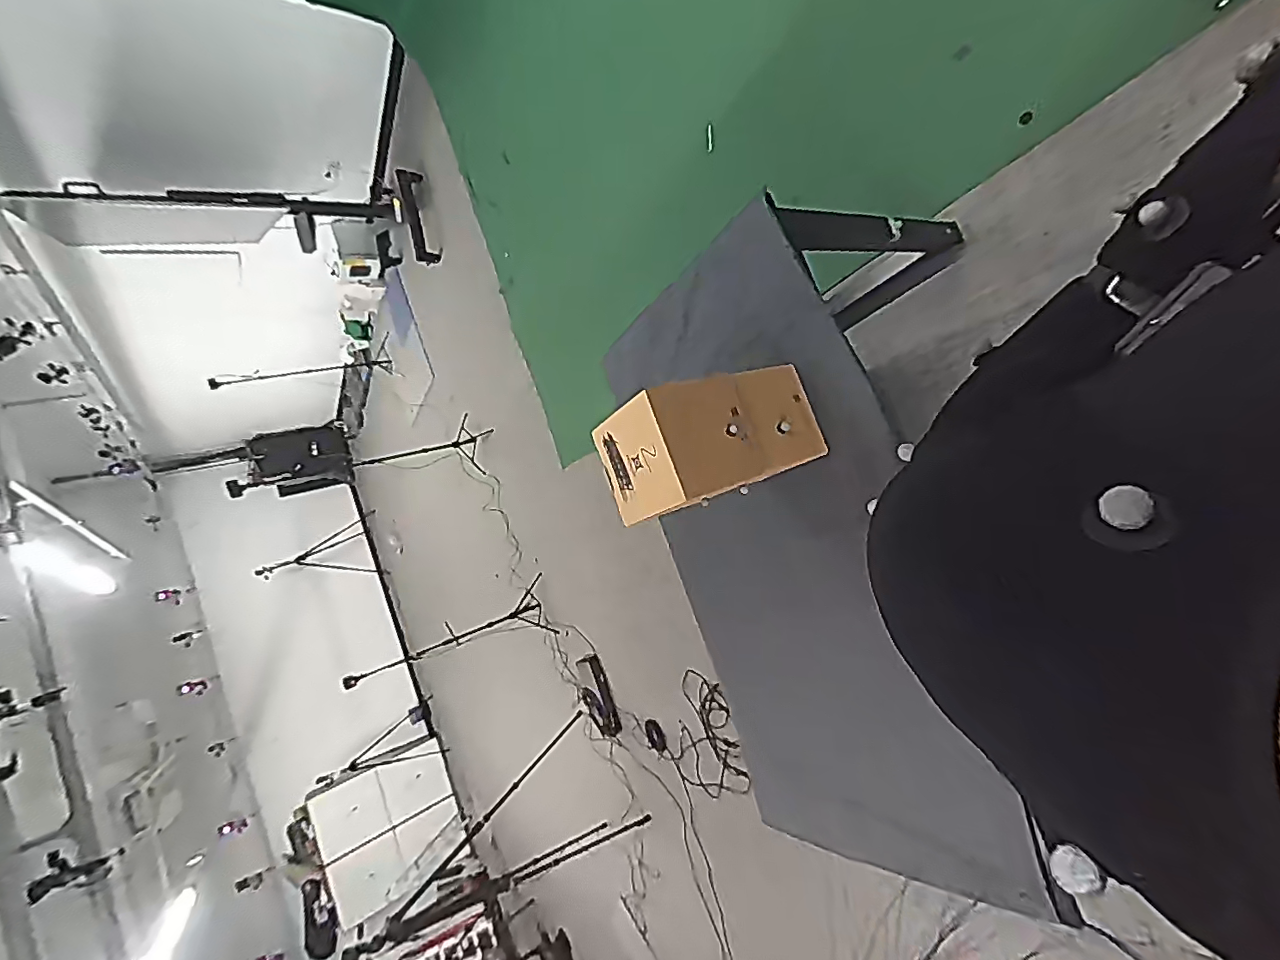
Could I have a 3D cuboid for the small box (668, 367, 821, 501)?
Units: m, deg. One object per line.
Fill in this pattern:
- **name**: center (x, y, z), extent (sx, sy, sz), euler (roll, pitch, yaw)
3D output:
- **small box**: center (0.185, -0.081, 0.933), extent (0.179, 0.176, 0.168), euler (-29, 80, 55)
